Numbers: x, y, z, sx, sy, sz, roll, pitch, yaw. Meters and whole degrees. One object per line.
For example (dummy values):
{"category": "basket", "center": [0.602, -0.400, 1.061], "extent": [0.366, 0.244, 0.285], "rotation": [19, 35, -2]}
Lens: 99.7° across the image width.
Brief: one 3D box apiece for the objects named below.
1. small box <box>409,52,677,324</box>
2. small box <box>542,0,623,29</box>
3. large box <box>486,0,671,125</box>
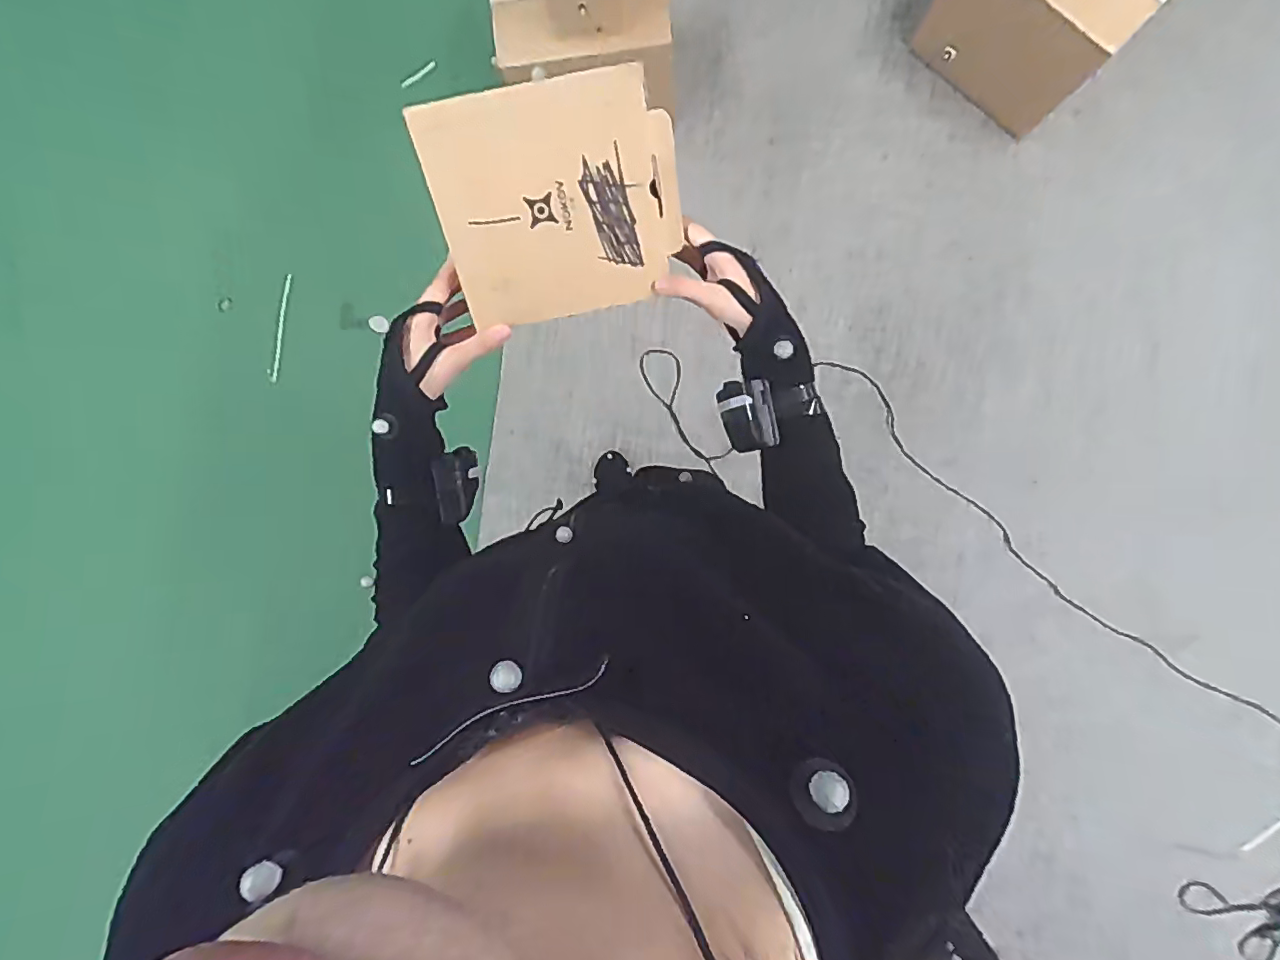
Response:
{"category": "small box", "center": [-0.076, -0.256, 0.484], "extent": [0.179, 0.176, 0.168], "rotation": [-12, 120, -2]}
{"category": "small box", "center": [-0.122, -1.070, 1.107], "extent": [0.168, 0.176, 0.179], "rotation": [-1, 91, 2]}
{"category": "large box", "center": [-0.141, -1.102, 1.353], "extent": [0.408, 0.320, 0.320], "rotation": [-6, 89, 4]}
